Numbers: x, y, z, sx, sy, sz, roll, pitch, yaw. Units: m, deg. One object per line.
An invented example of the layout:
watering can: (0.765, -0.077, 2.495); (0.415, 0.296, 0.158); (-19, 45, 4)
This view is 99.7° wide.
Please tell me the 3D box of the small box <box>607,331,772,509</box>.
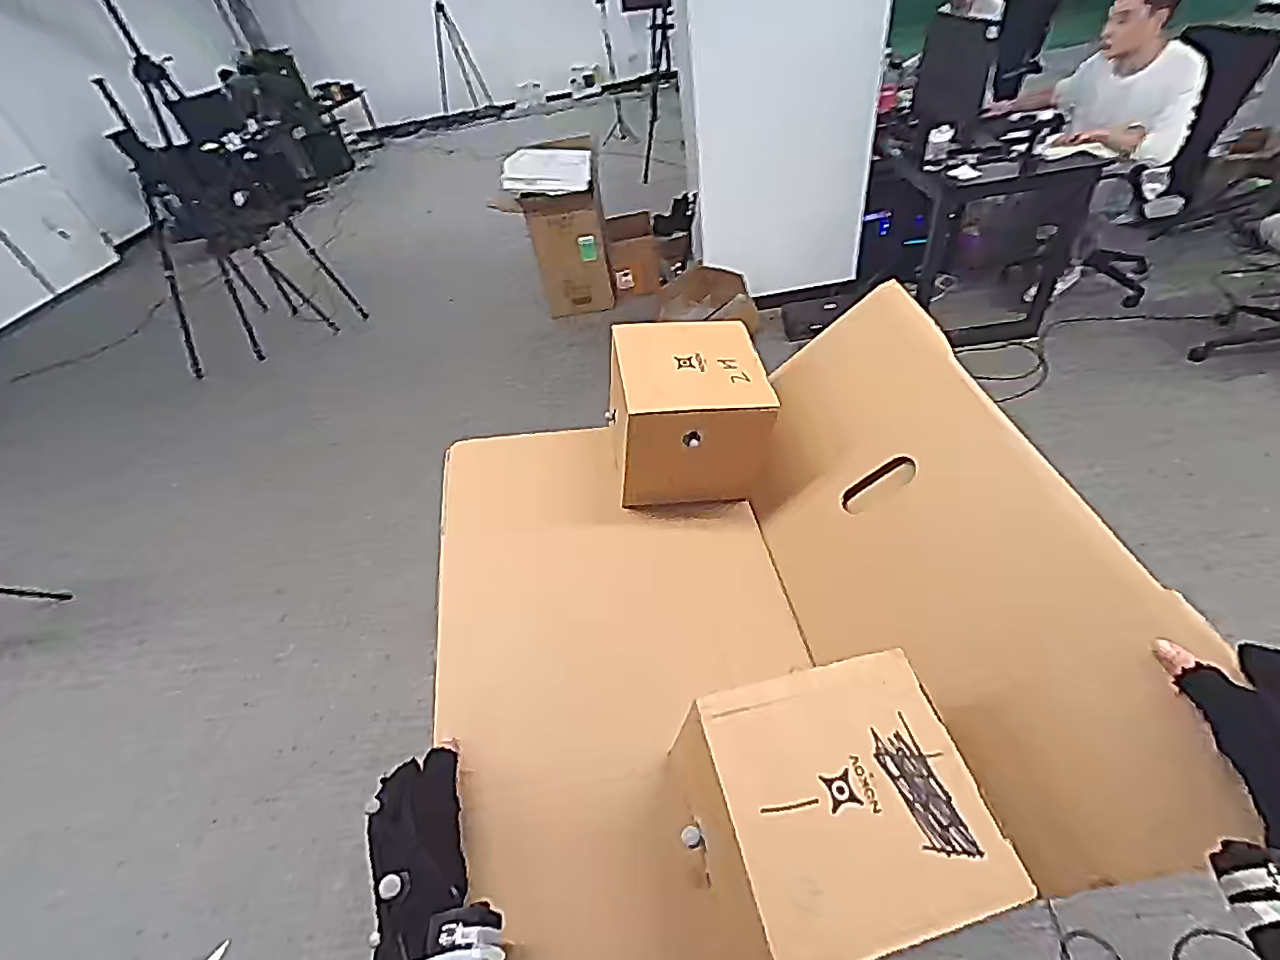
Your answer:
small box: (0.049, -0.075, 0.705); (0.179, 0.176, 0.168); (-3, 50, -8)
